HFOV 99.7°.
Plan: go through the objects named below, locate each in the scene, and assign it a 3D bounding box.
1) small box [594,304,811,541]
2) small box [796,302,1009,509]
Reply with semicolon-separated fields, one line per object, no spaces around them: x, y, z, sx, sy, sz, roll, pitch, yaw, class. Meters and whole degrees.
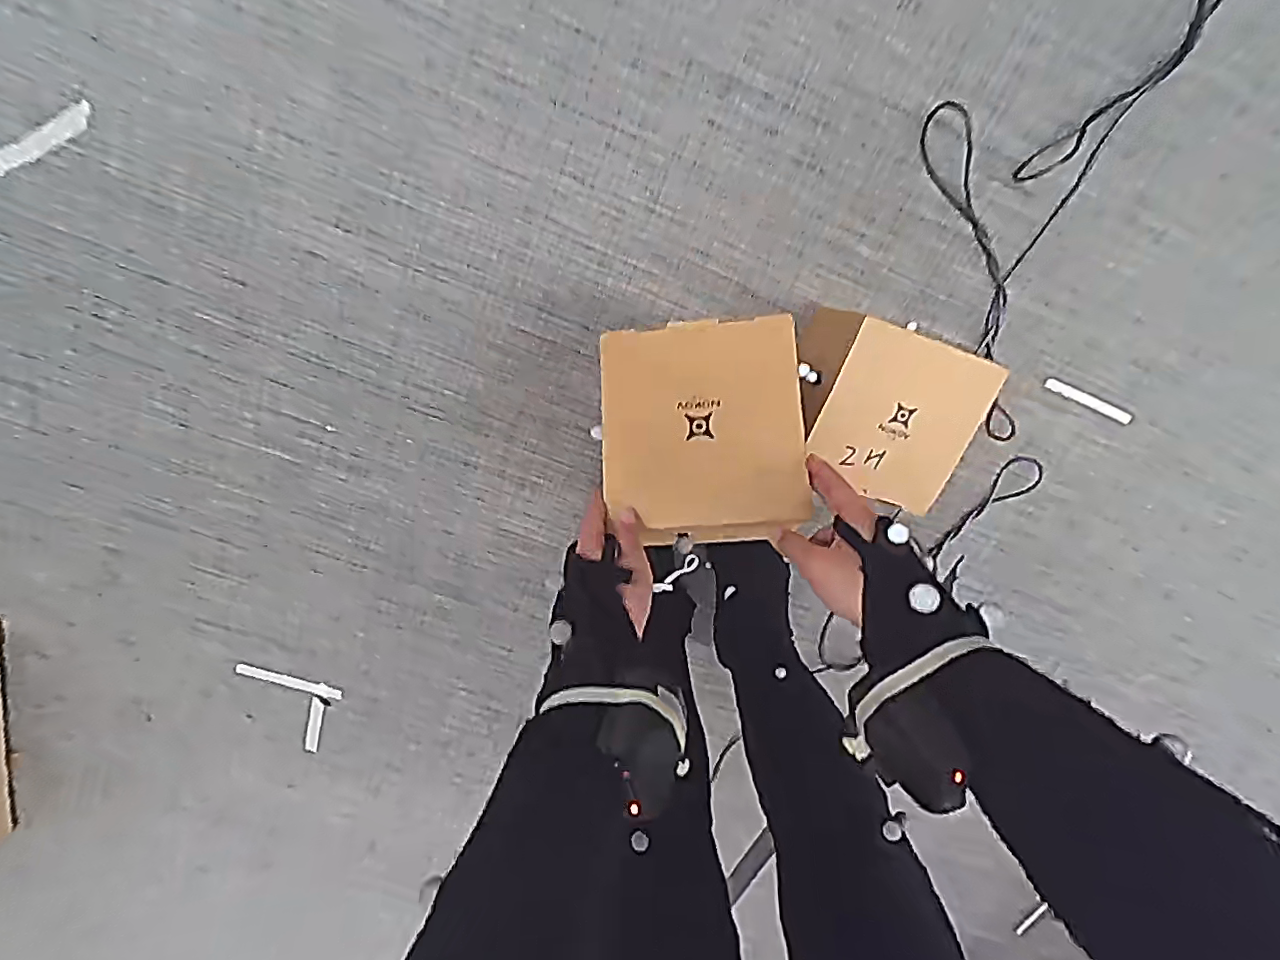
0.058;-0.036;0.507;0.168;0.176;0.179;-5;78;8;small box
0.268;-0.097;0.634;0.168;0.176;0.179;18;111;-6;small box
